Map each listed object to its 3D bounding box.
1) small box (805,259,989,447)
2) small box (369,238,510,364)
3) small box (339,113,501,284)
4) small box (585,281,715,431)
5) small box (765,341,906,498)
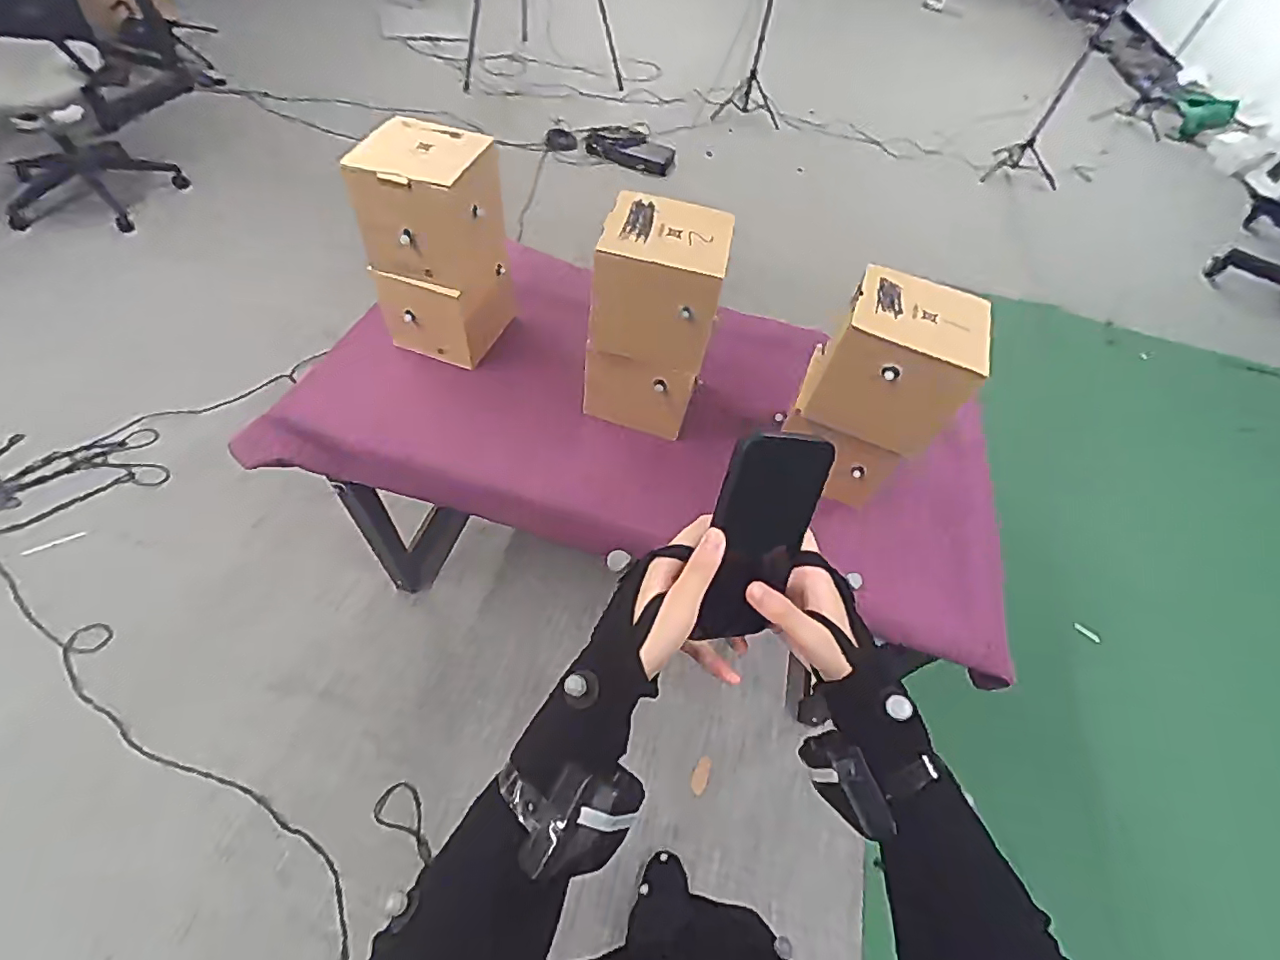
[{"bbox_3d":[0.354,-0.174,0.764,0.179,0.176,0.168,23,55,8],"label":"small box"},{"bbox_3d":[-0.351,-0.342,0.990,0.168,0.176,0.179,18,55,5],"label":"small box"},{"bbox_3d":[-0.331,-0.442,0.861,0.168,0.176,0.179,14,55,2],"label":"small box"},{"bbox_3d":[0.014,-0.209,0.943,0.179,0.176,0.168,18,55,5],"label":"small box"},{"bbox_3d":[0.333,-0.094,0.907,0.179,0.176,0.168,22,55,9],"label":"small box"}]
